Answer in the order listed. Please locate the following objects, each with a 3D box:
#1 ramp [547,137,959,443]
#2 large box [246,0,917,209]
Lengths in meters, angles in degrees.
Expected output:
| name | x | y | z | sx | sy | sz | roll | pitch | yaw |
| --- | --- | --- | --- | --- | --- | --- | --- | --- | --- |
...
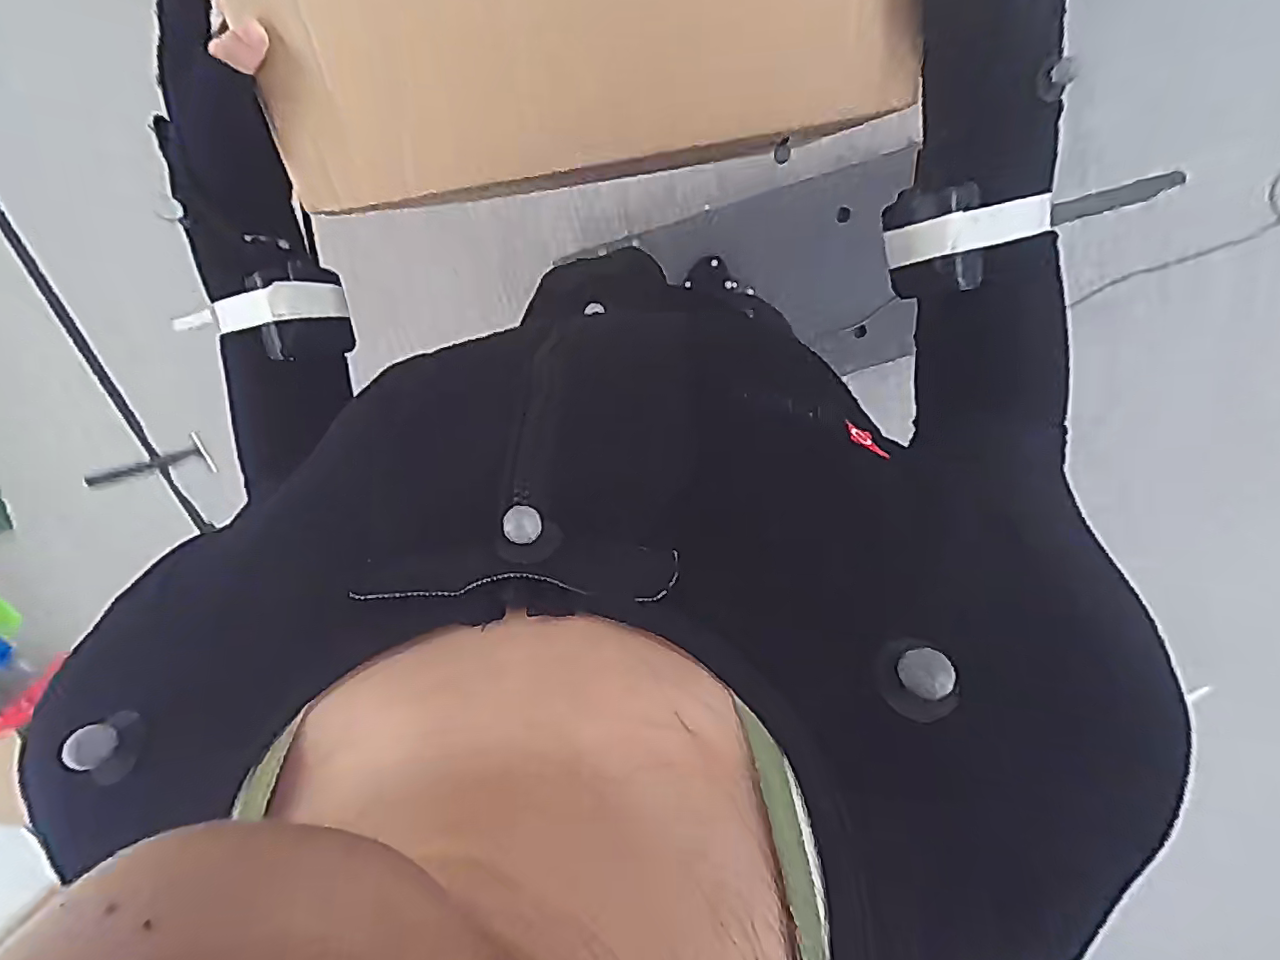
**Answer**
| name | x | y | z | sx | sy | sz | roll | pitch | yaw |
| --- | --- | --- | --- | --- | --- | --- | --- | --- | --- |
| ramp | 0.311 | -0.464 | 1.386 | 0.991 | 0.206 | 0.509 | -15 | 109 | 12 |
| large box | -0.039 | -0.417 | 0.420 | 0.408 | 0.320 | 0.320 | -5 | 117 | 6 |
